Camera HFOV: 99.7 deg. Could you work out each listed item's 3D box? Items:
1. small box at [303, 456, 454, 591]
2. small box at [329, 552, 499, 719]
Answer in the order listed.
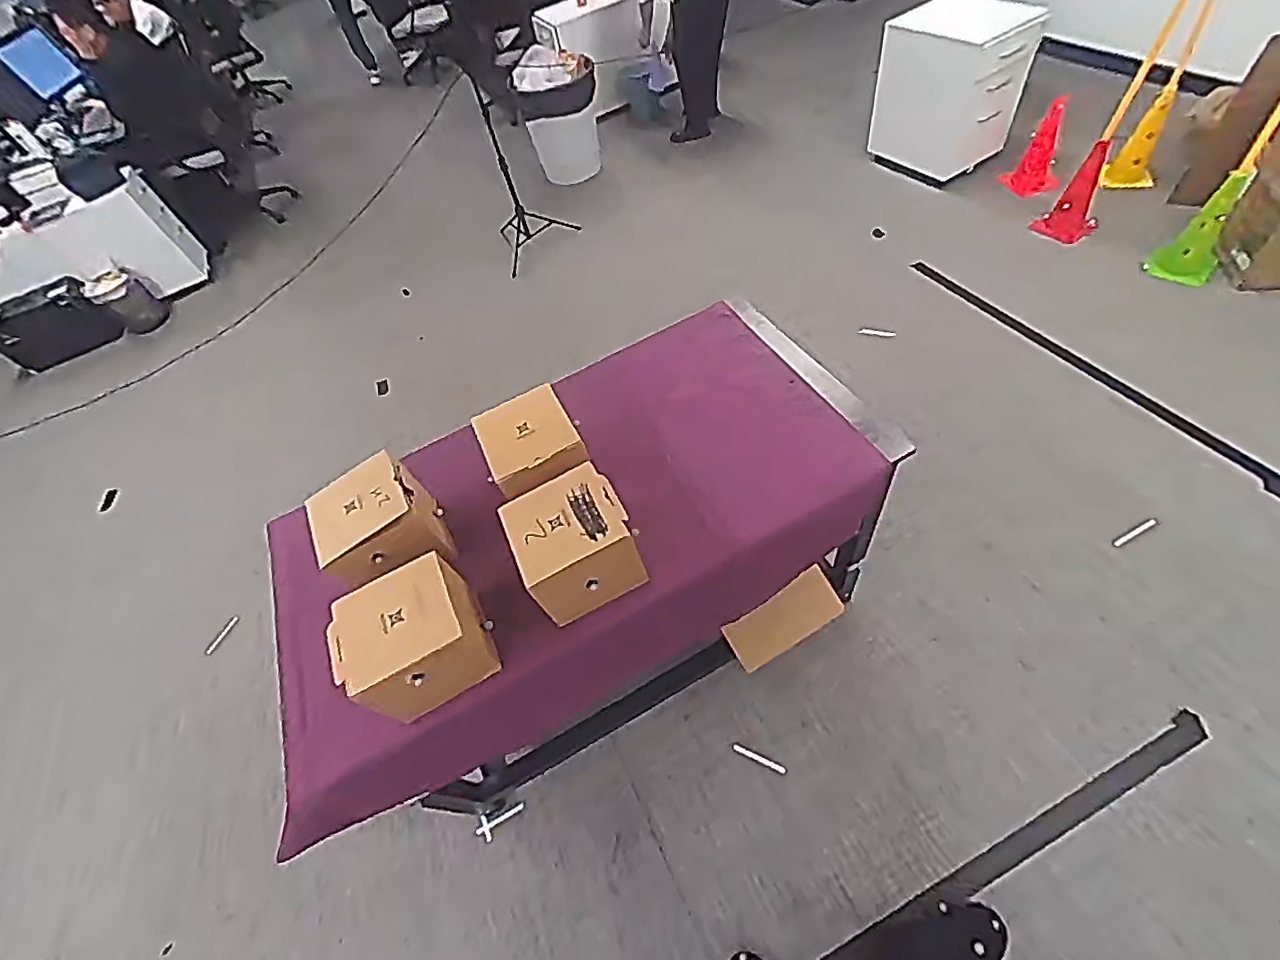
[{"bbox_3d":[-0.478,0.096,1.000,0.179,0.176,0.168,-30,56,-10],"label":"small box"},{"bbox_3d":[-0.356,0.254,0.865,0.179,0.176,0.168,-28,55,-9],"label":"small box"}]
